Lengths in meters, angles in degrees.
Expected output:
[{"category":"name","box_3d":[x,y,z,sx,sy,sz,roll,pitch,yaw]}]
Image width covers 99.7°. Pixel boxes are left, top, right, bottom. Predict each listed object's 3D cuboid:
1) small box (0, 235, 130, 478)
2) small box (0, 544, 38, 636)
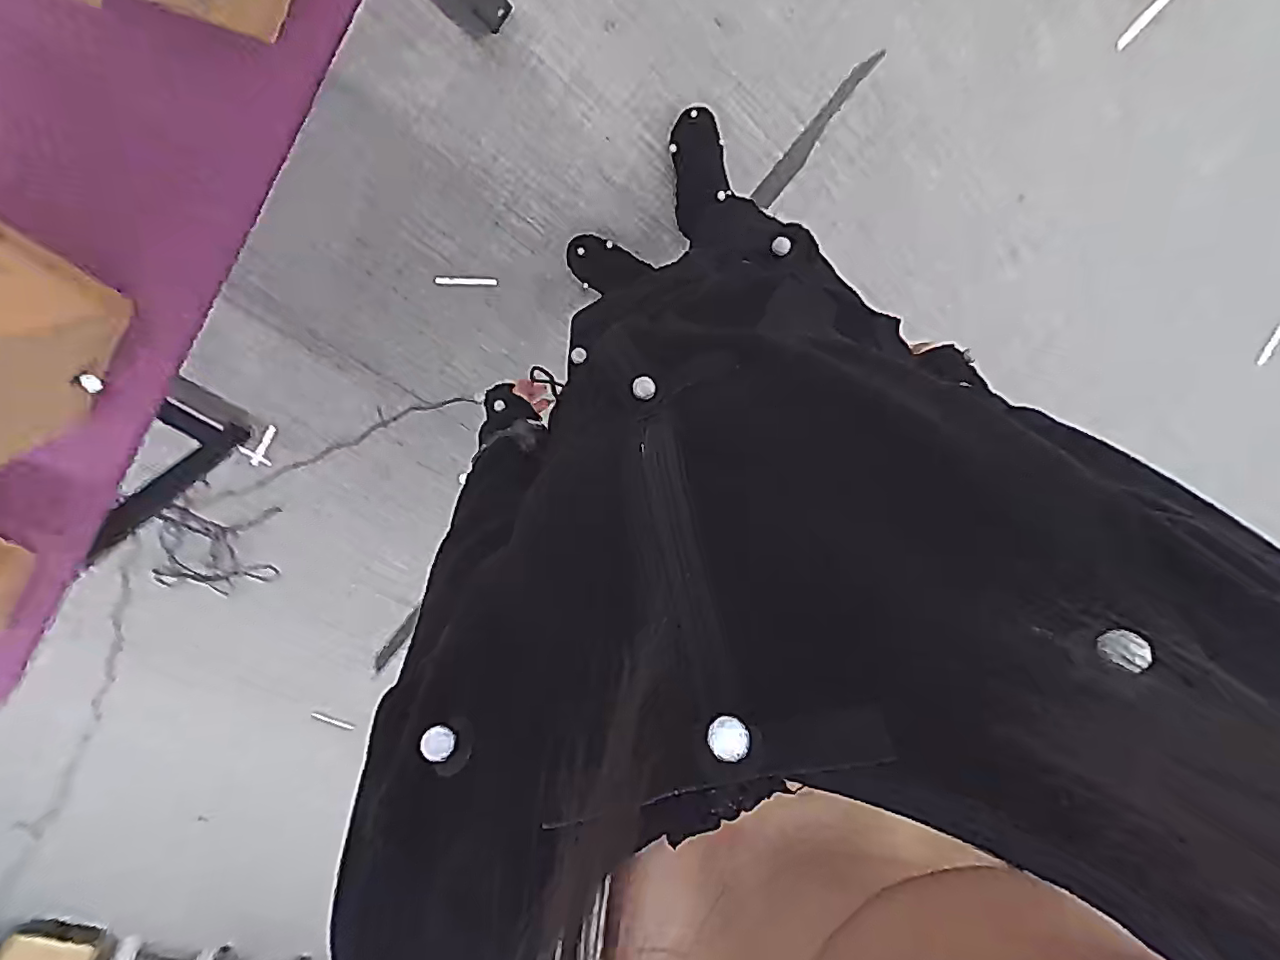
[{"category":"small box","box_3d":[-0.616,-0.117,0.477,0.168,0.176,0.179,35,110,-23]},{"category":"small box","box_3d":[-0.859,0.150,0.604,0.179,0.176,0.168,35,109,-21]}]
